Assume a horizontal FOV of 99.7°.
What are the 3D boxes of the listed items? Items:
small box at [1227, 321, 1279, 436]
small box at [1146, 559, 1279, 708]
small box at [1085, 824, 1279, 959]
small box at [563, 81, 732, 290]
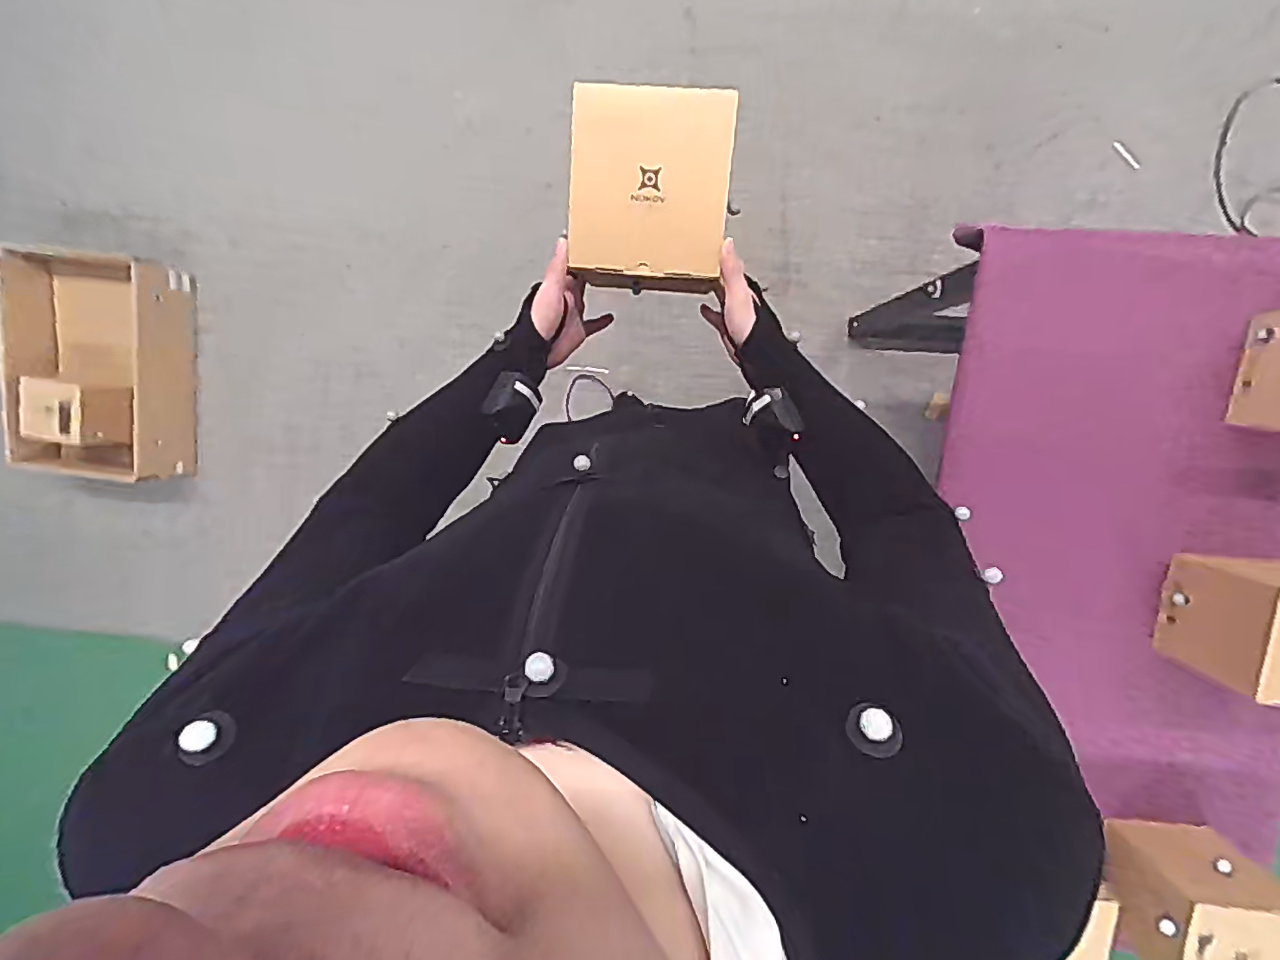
[{"bbox_3d":[0.987,-0.136,0.740,0.179,0.176,0.168,7,99,3],"label":"small box"},{"bbox_3d":[0.922,0.222,0.798,0.179,0.176,0.168,6,97,3],"label":"small box"},{"bbox_3d":[0.872,0.687,0.864,0.179,0.176,0.168,4,97,2],"label":"small box"},{"bbox_3d":[0.006,-0.325,0.630,0.168,0.176,0.179,4,106,2],"label":"small box"}]
